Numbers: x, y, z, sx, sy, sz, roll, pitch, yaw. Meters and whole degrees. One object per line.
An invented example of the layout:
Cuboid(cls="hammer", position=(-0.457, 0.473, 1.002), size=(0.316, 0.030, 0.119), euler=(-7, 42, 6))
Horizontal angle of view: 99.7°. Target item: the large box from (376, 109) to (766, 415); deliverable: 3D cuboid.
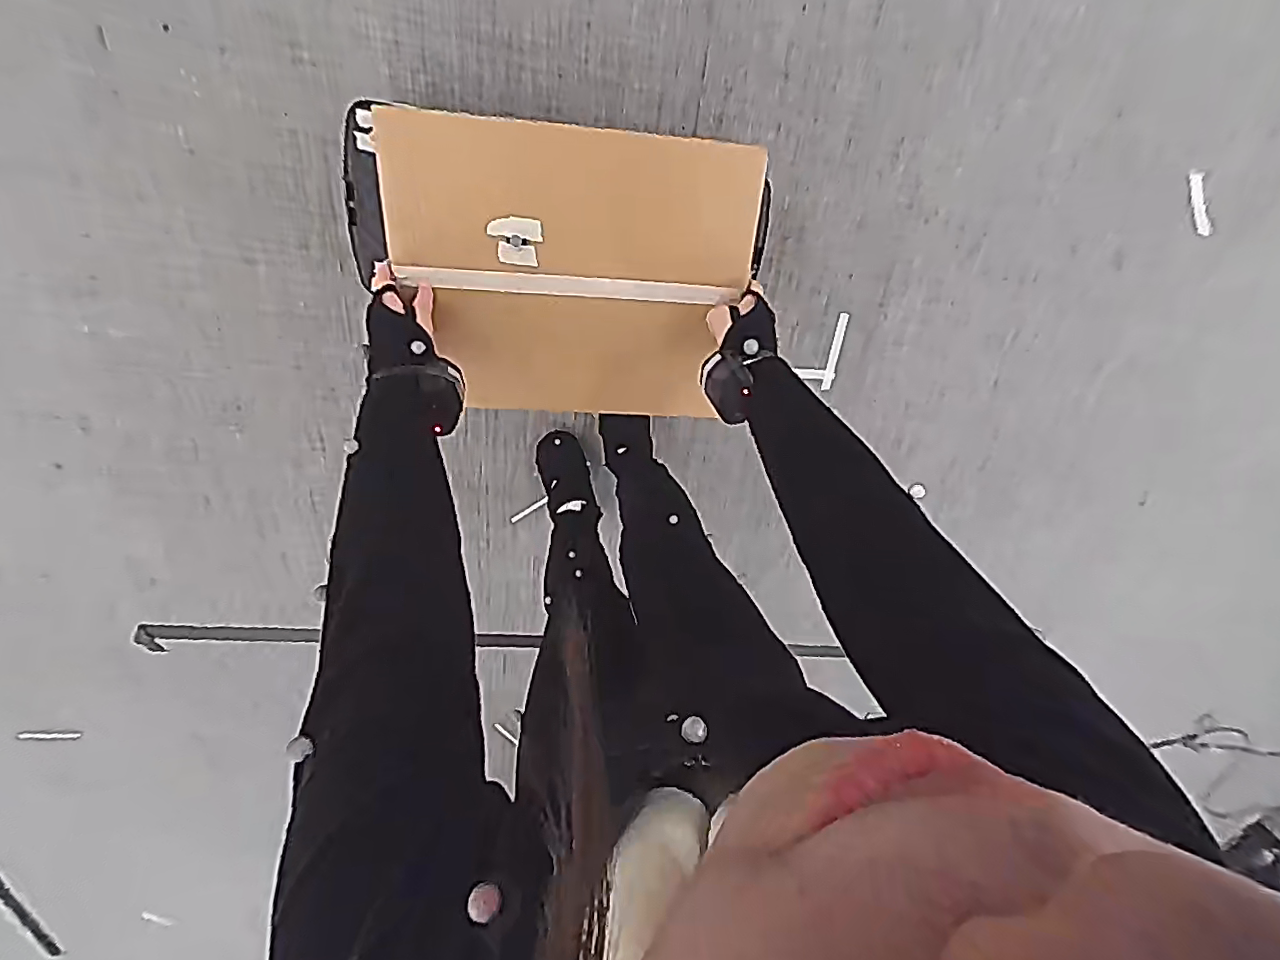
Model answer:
Cuboid(cls="large box", position=(-0.083, -0.297, 0.747), size=(0.408, 0.320, 0.320), euler=(2, 118, -6))
